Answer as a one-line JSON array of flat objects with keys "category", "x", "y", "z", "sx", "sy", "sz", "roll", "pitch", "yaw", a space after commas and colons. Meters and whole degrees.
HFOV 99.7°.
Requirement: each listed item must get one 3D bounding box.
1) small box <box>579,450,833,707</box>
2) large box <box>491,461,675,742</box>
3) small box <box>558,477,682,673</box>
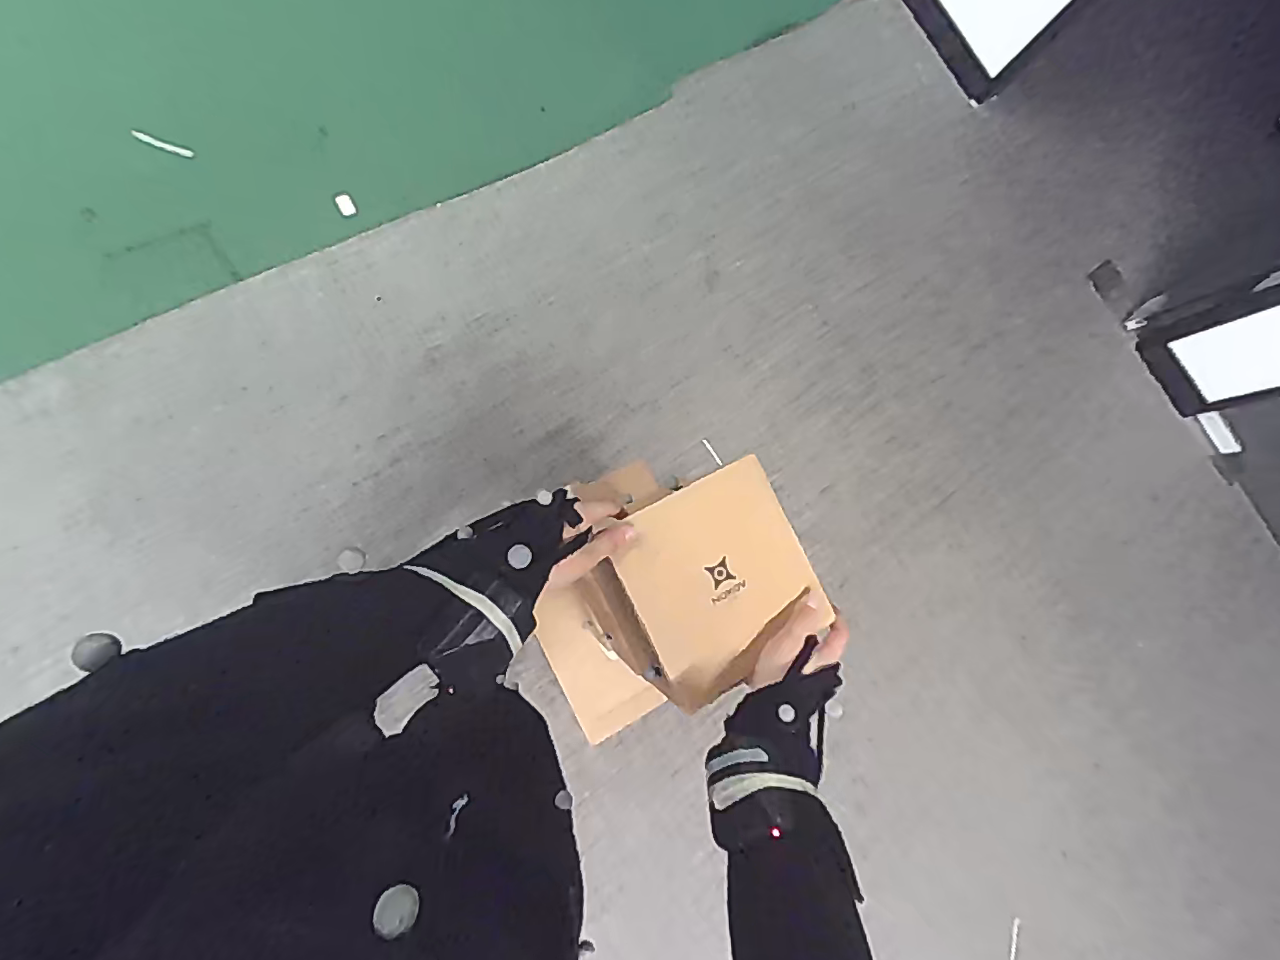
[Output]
[{"category": "small box", "x": 0.051, "y": 0.094, "z": 0.552, "sx": 0.168, "sy": 0.176, "sz": 0.179, "roll": -27, "pitch": 89, "yaw": -15}, {"category": "large box", "x": -0.069, "y": 0.222, "z": 1.095, "sx": 0.320, "sy": 0.320, "sz": 0.408, "roll": -27, "pitch": 89, "yaw": -14}, {"category": "small box", "x": 0.007, "y": 0.118, "z": 0.706, "sx": 0.168, "sy": 0.176, "sz": 0.179, "roll": -30, "pitch": 88, "yaw": -16}]
